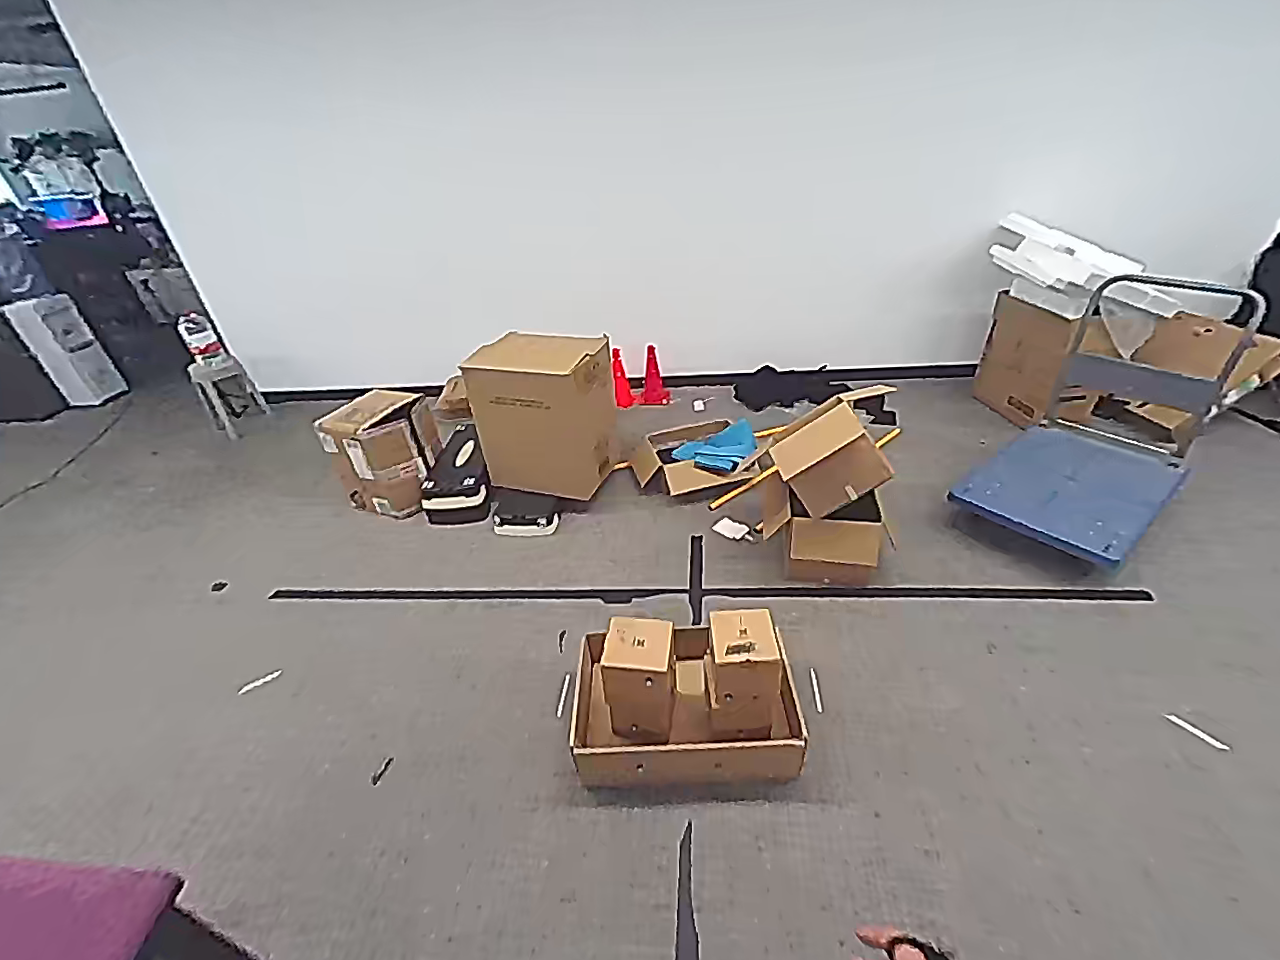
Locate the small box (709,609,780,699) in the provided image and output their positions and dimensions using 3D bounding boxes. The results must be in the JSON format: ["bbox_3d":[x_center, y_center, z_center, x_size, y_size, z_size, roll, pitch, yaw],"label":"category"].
[{"bbox_3d":[0.280,0.475,1.463,0.168,0.176,0.179,-4,32,3],"label":"small box"}]

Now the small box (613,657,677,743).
[{"bbox_3d":[0.016,0.628,1.575,0.168,0.176,0.179,3,34,11],"label":"small box"}]

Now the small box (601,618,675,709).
[{"bbox_3d":[0.001,0.500,1.470,0.179,0.176,0.168,2,34,9],"label":"small box"}]
